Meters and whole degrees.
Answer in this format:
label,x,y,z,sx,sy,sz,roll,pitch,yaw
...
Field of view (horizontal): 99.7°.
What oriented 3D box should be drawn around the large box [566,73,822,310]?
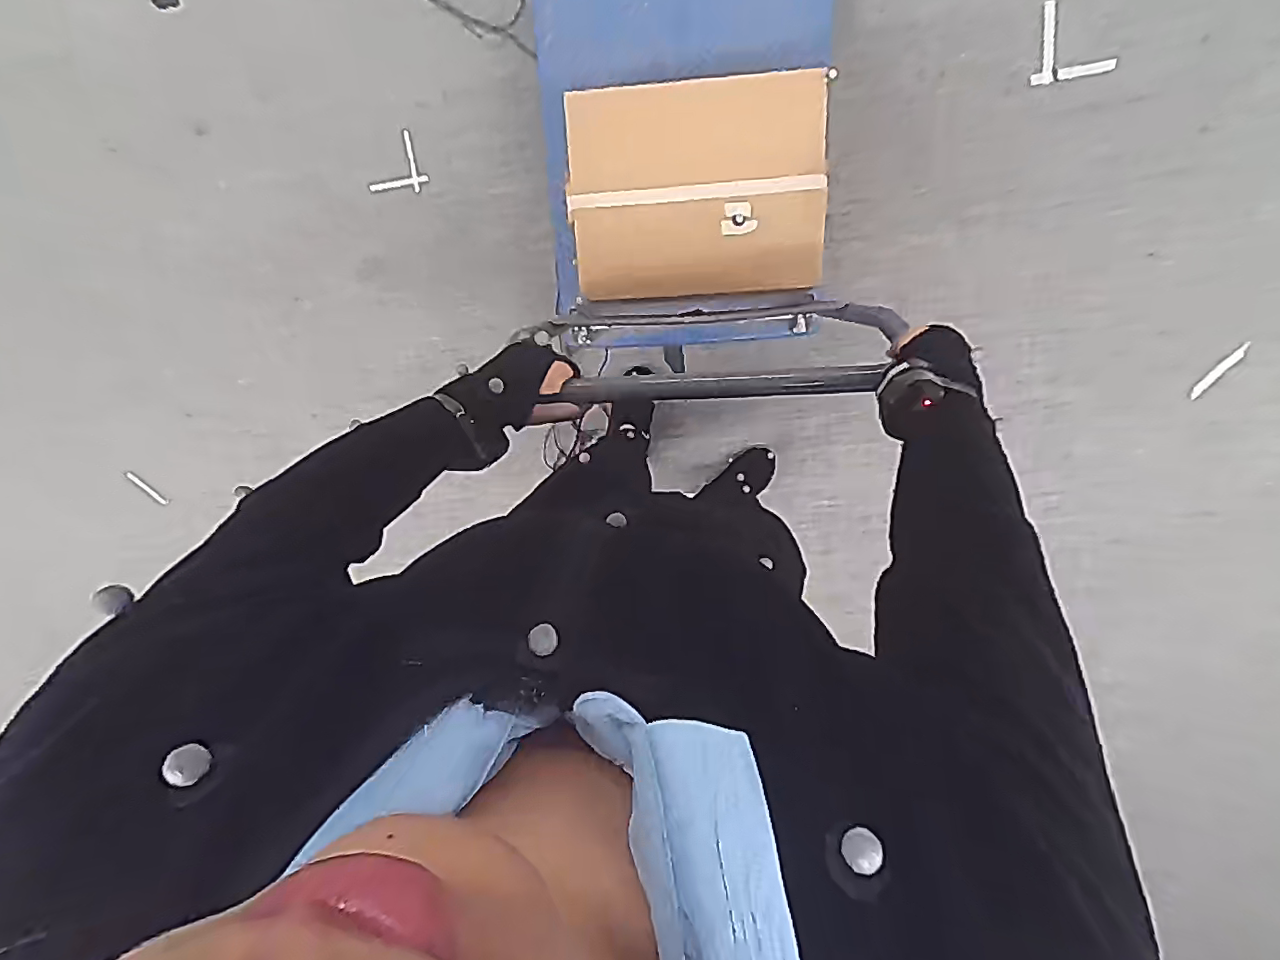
label,x,y,z,sx,sy,sz,roll,pitch,yaw
large box,0.098,-0.501,1.019,0.408,0.320,0.320,-3,107,4
